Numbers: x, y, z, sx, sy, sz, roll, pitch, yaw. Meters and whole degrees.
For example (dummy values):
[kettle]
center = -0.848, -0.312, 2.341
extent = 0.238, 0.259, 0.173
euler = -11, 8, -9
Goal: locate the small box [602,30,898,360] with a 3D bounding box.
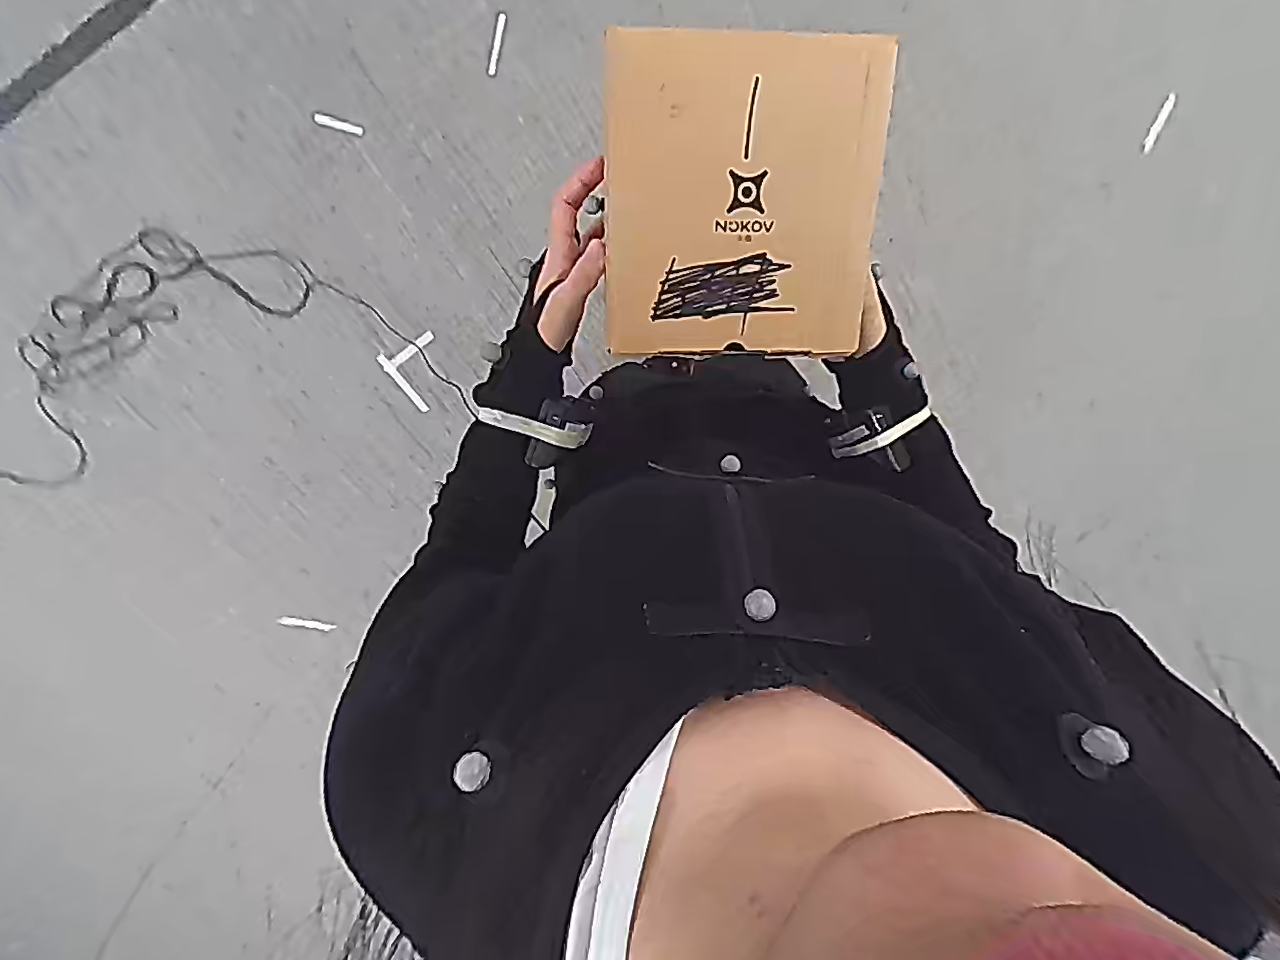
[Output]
[small box]
center = 0.057, -0.189, 0.398
extent = 0.168, 0.176, 0.179
euler = -2, 110, -4
